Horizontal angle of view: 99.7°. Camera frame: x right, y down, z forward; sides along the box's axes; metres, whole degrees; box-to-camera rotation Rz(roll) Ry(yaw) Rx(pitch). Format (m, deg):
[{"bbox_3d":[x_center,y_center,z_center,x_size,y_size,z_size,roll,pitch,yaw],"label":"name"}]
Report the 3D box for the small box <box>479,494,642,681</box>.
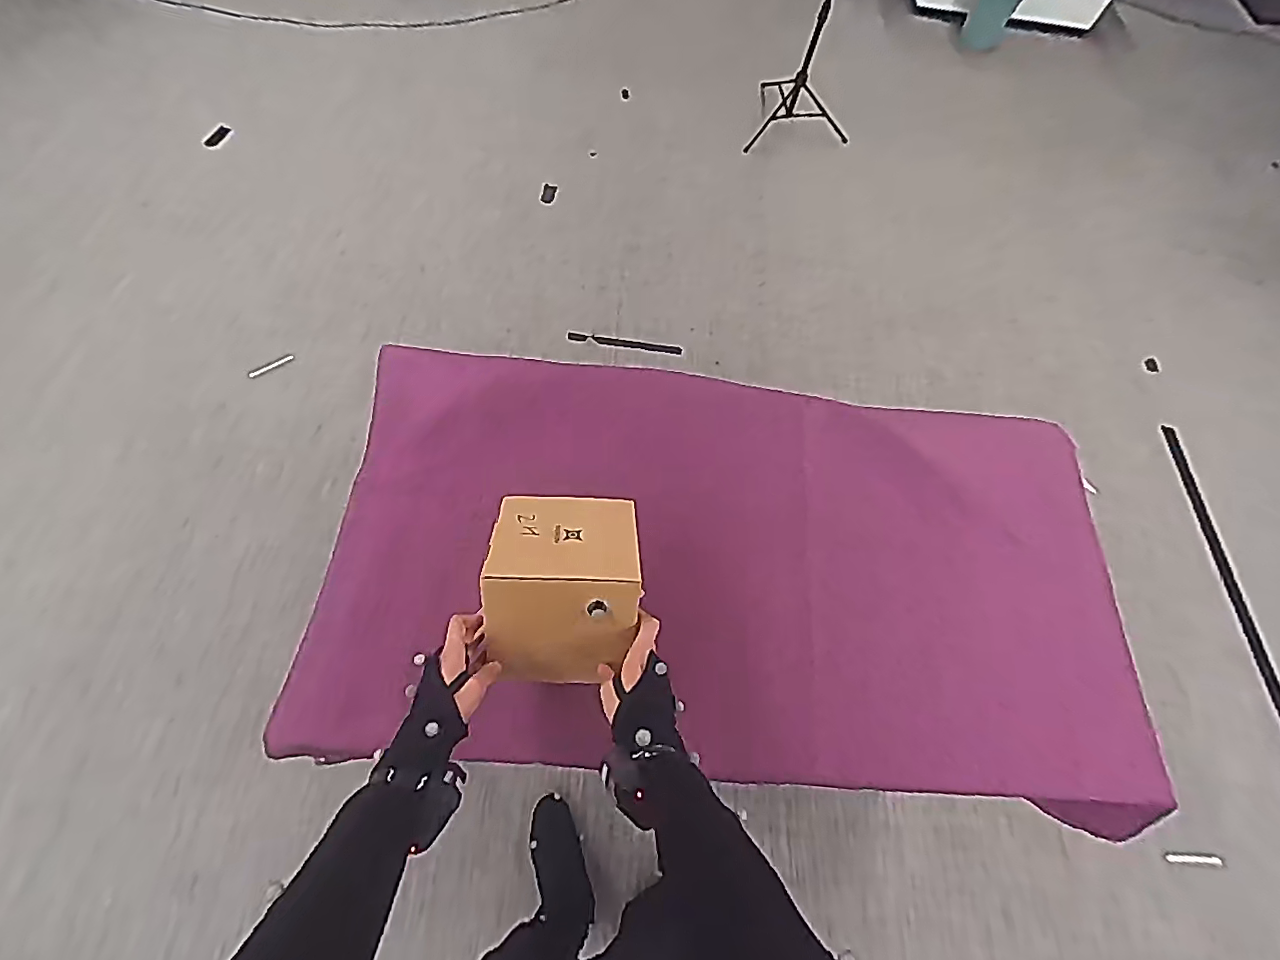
[{"bbox_3d":[-0.095,0.135,0.685,0.179,0.176,0.168,3,30,-5],"label":"small box"}]
